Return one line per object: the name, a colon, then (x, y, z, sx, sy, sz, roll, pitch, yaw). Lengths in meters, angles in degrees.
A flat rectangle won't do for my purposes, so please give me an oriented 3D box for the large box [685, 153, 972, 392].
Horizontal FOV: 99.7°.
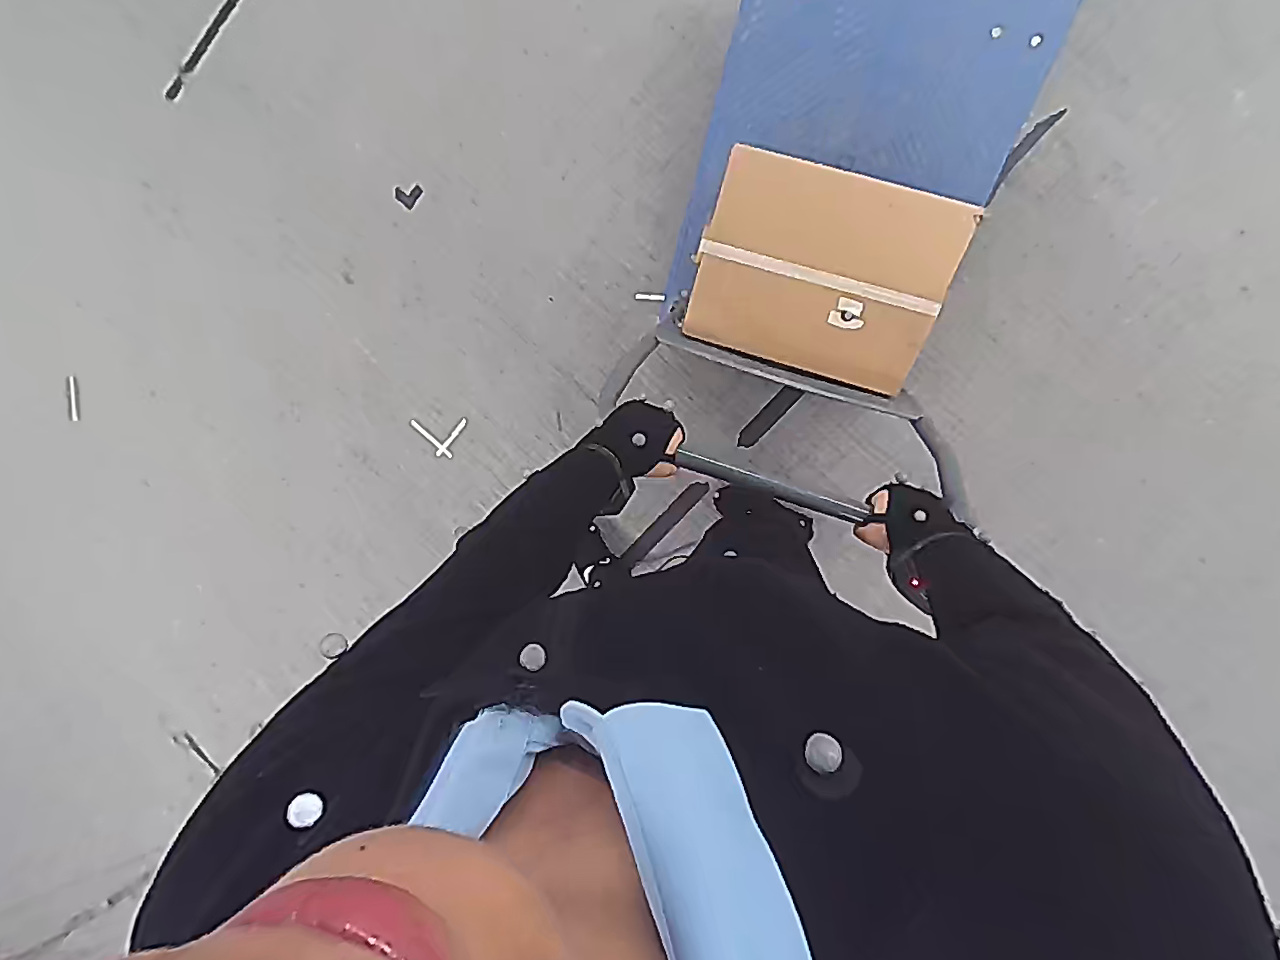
large box: (0.331, -0.403, 1.068, 0.408, 0.320, 0.320, 18, 115, 4)
